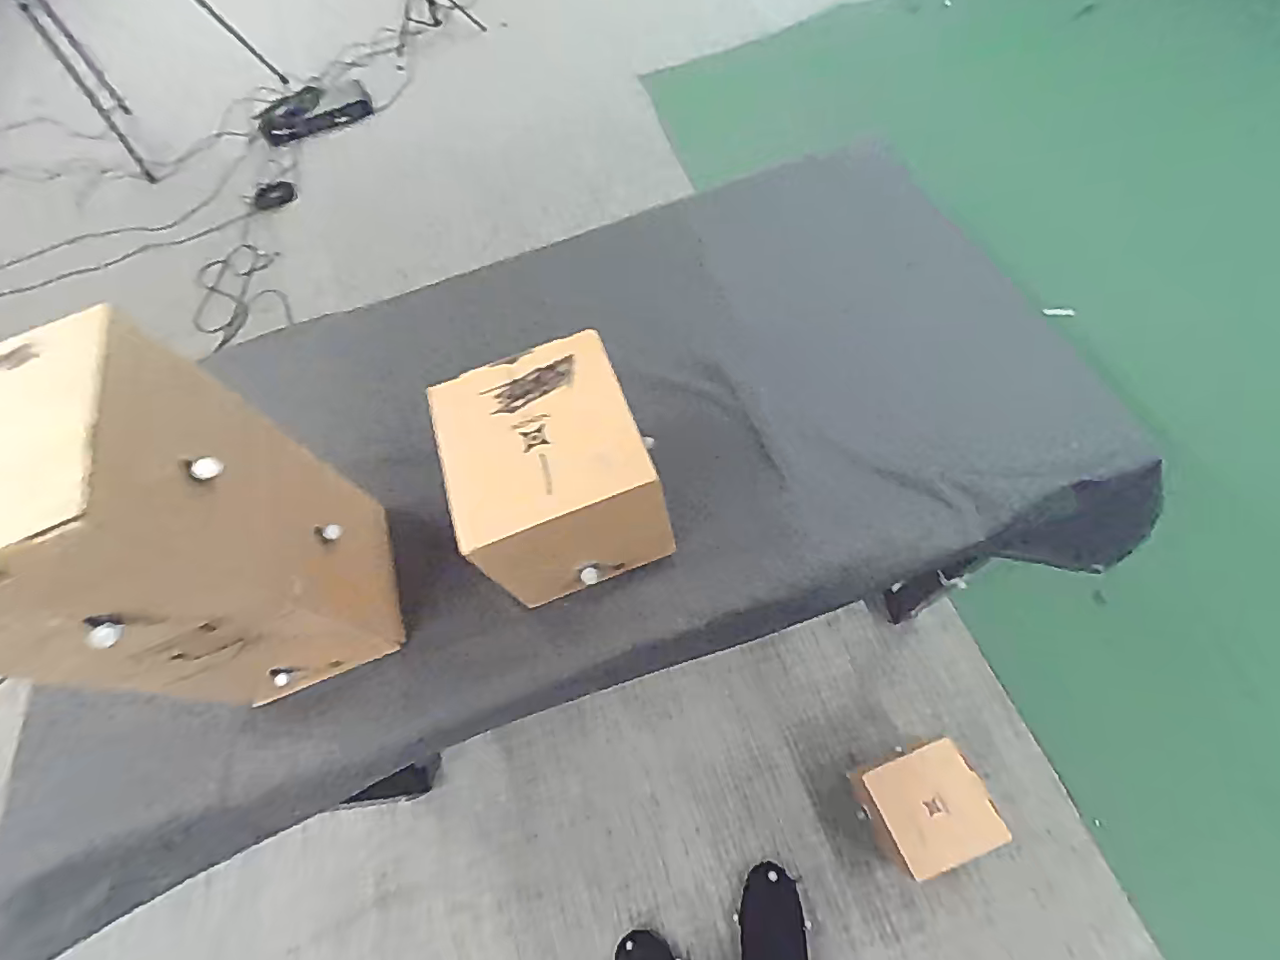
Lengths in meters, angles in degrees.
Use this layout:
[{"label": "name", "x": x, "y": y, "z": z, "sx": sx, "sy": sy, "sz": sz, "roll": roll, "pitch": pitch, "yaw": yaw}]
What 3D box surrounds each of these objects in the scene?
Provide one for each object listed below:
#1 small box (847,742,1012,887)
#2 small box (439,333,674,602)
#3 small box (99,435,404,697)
[{"label": "small box", "x": 0.500, "y": 0.584, "z": 0.965, "sx": 0.179, "sy": 0.176, "sz": 0.168, "roll": -22, "pitch": 61, "yaw": -2}, {"label": "small box", "x": -0.075, "y": -0.005, "z": 0.533, "sx": 0.168, "sy": 0.176, "sz": 0.179, "roll": -21, "pitch": 61, "yaw": -2}, {"label": "small box", "x": -0.358, "y": 0.092, "z": 0.531, "sx": 0.168, "sy": 0.176, "sz": 0.179, "roll": -22, "pitch": 62, "yaw": -3}]
